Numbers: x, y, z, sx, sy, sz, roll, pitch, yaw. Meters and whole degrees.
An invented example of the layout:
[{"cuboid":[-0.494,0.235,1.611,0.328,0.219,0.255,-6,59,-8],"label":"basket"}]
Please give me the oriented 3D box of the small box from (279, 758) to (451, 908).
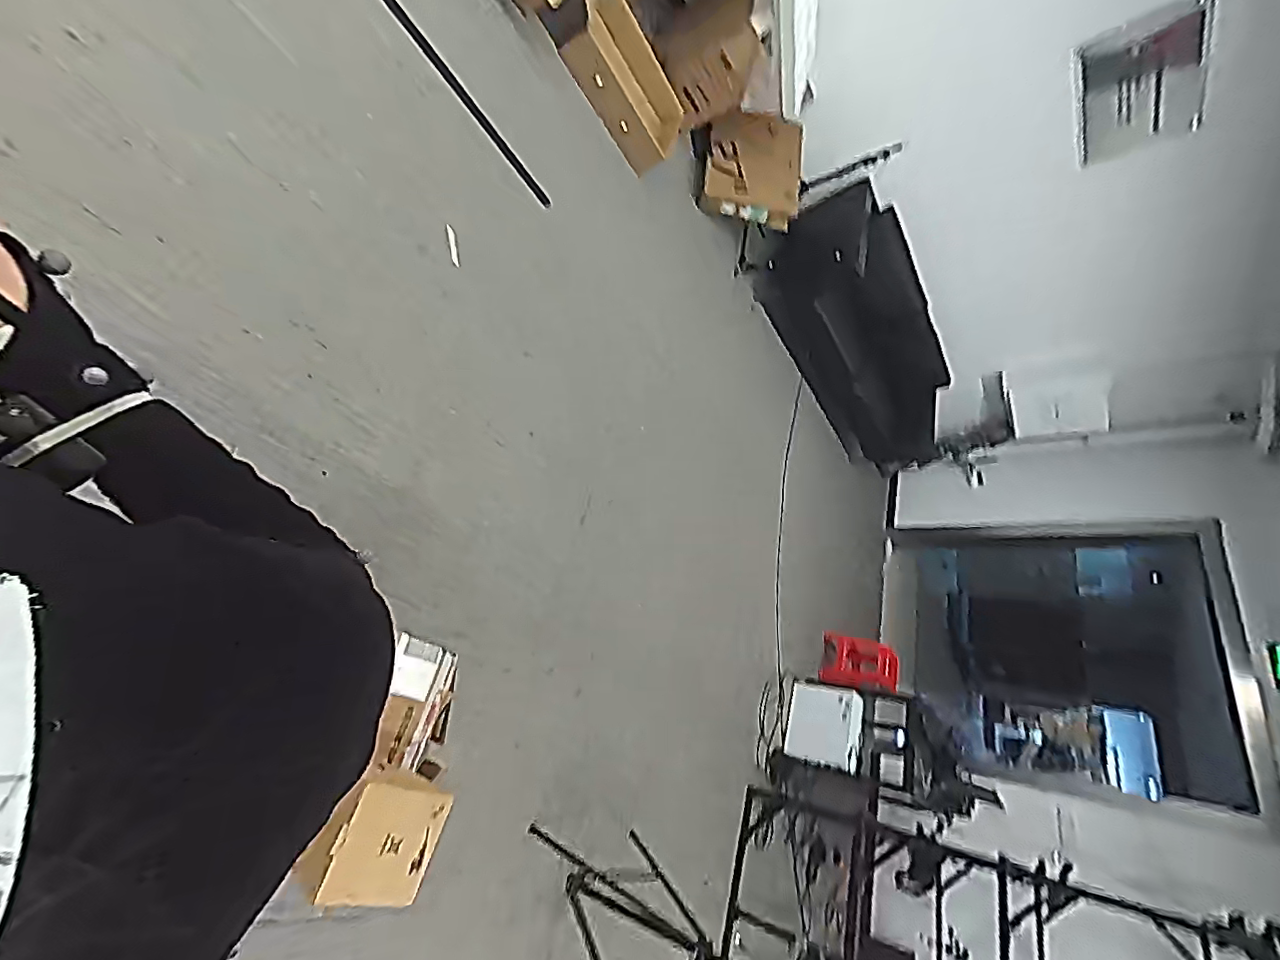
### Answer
[{"cuboid":[-0.467,0.592,0.920,0.179,0.176,0.168,41,57,-38],"label":"small box"}]
